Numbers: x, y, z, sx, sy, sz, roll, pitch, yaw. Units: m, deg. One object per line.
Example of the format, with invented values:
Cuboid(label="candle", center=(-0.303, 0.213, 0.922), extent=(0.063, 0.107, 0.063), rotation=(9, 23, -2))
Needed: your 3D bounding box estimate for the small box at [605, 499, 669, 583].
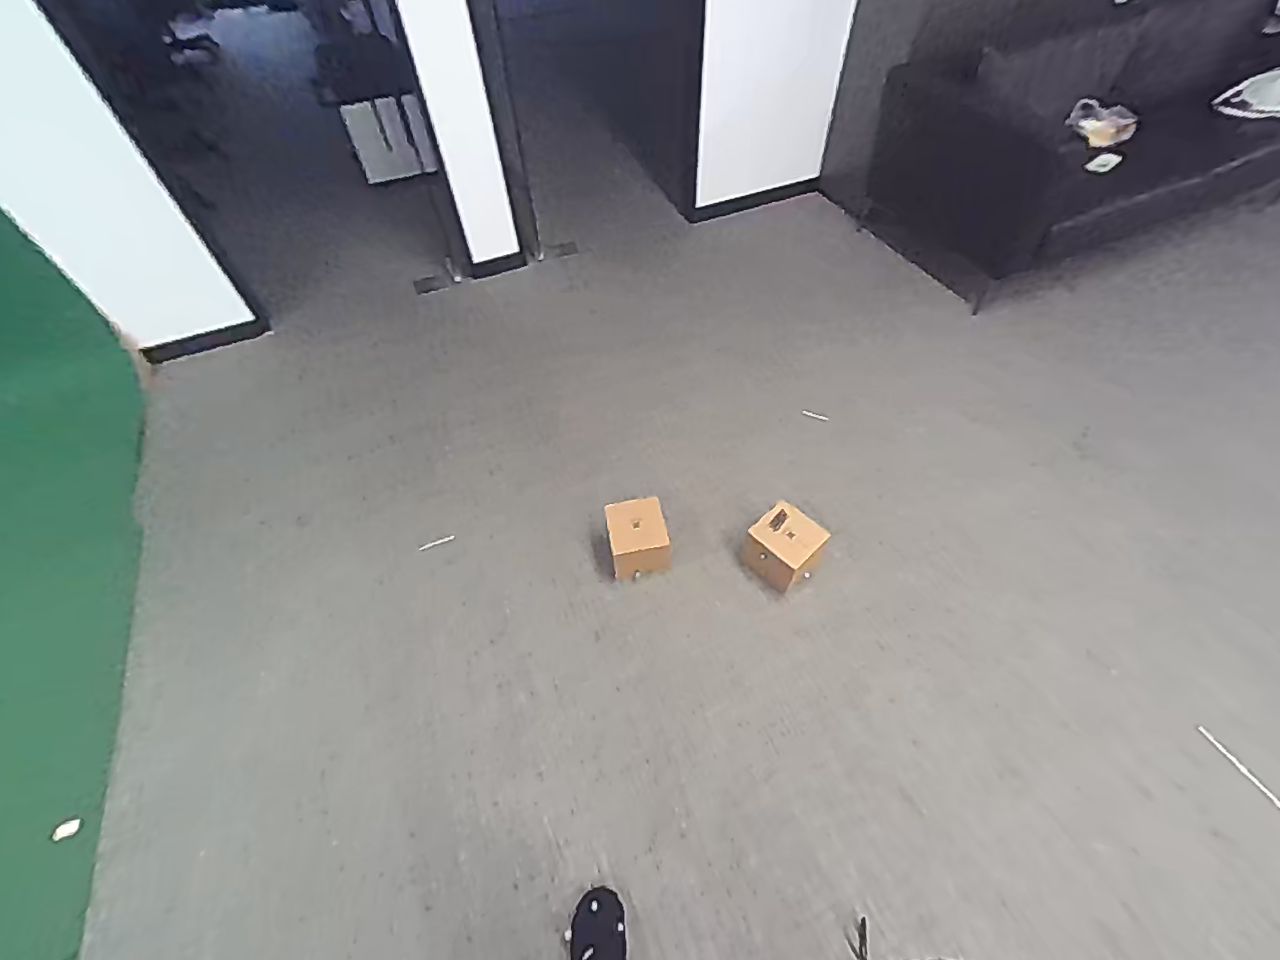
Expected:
Cuboid(label="small box", center=(-0.011, 0.185, 1.629), extent=(0.168, 0.176, 0.179), rotation=(-10, 52, -5))

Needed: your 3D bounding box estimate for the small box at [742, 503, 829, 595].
Cuboid(label="small box", center=(0.421, 0.207, 1.597), extent=(0.168, 0.176, 0.179), rotation=(-37, 59, -23))
